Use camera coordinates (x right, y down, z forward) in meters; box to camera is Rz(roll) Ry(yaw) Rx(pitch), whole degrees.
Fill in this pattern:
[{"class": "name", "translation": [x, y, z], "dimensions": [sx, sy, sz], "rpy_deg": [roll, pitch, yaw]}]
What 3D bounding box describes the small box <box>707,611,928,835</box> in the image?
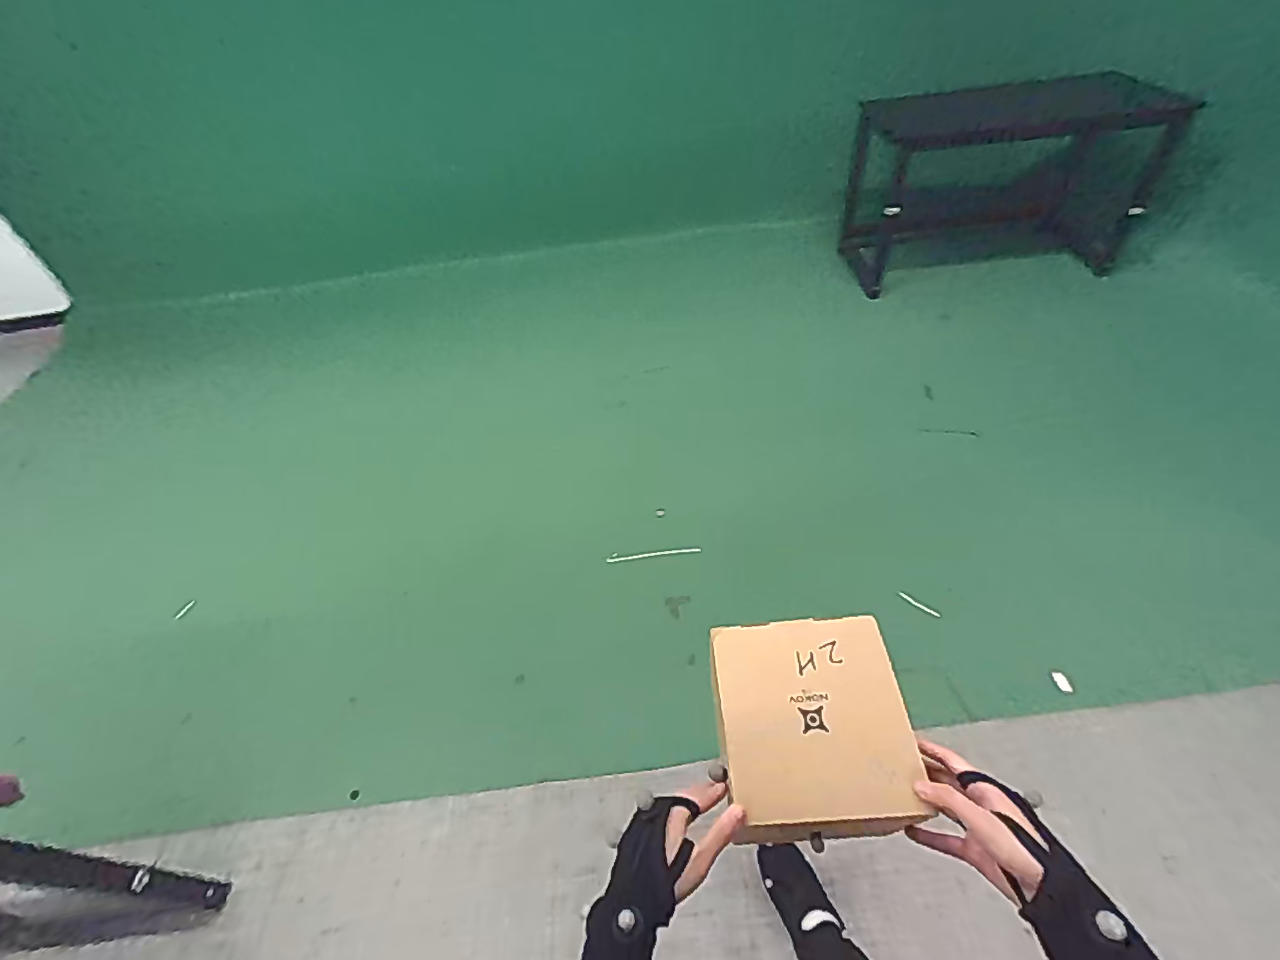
[{"class": "small box", "translation": [0.163, 0.257, 0.561], "dimensions": [0.168, 0.176, 0.179], "rpy_deg": [-7, 51, 3]}]
